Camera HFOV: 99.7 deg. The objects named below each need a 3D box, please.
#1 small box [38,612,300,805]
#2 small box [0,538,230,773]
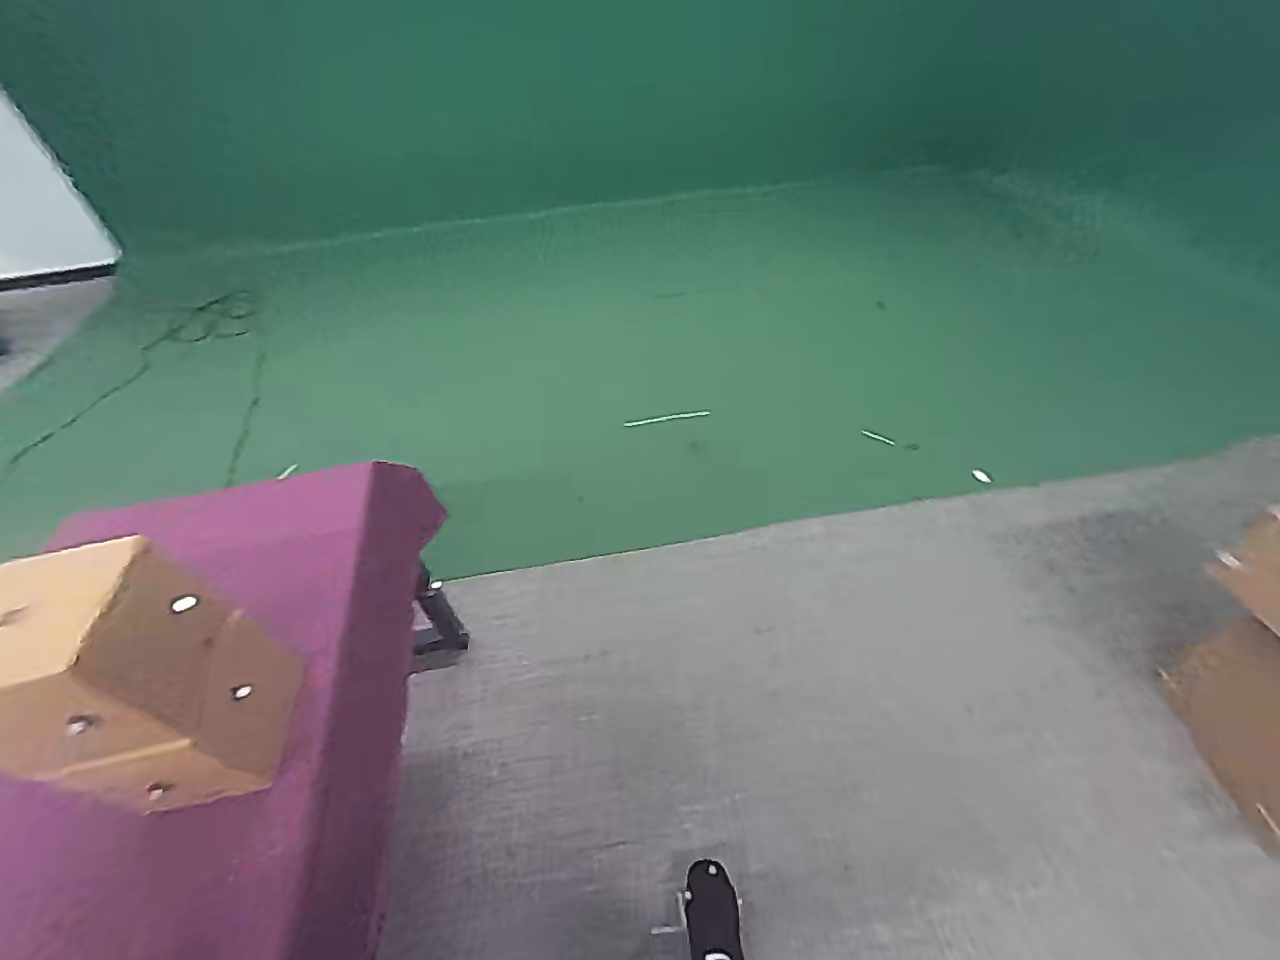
[{"bbox_3d":[-0.581,0.302,0.704,0.168,0.176,0.179,-10,46,-4],"label":"small box"},{"bbox_3d":[-0.599,0.191,0.586,0.179,0.176,0.168,-12,46,-5],"label":"small box"}]
